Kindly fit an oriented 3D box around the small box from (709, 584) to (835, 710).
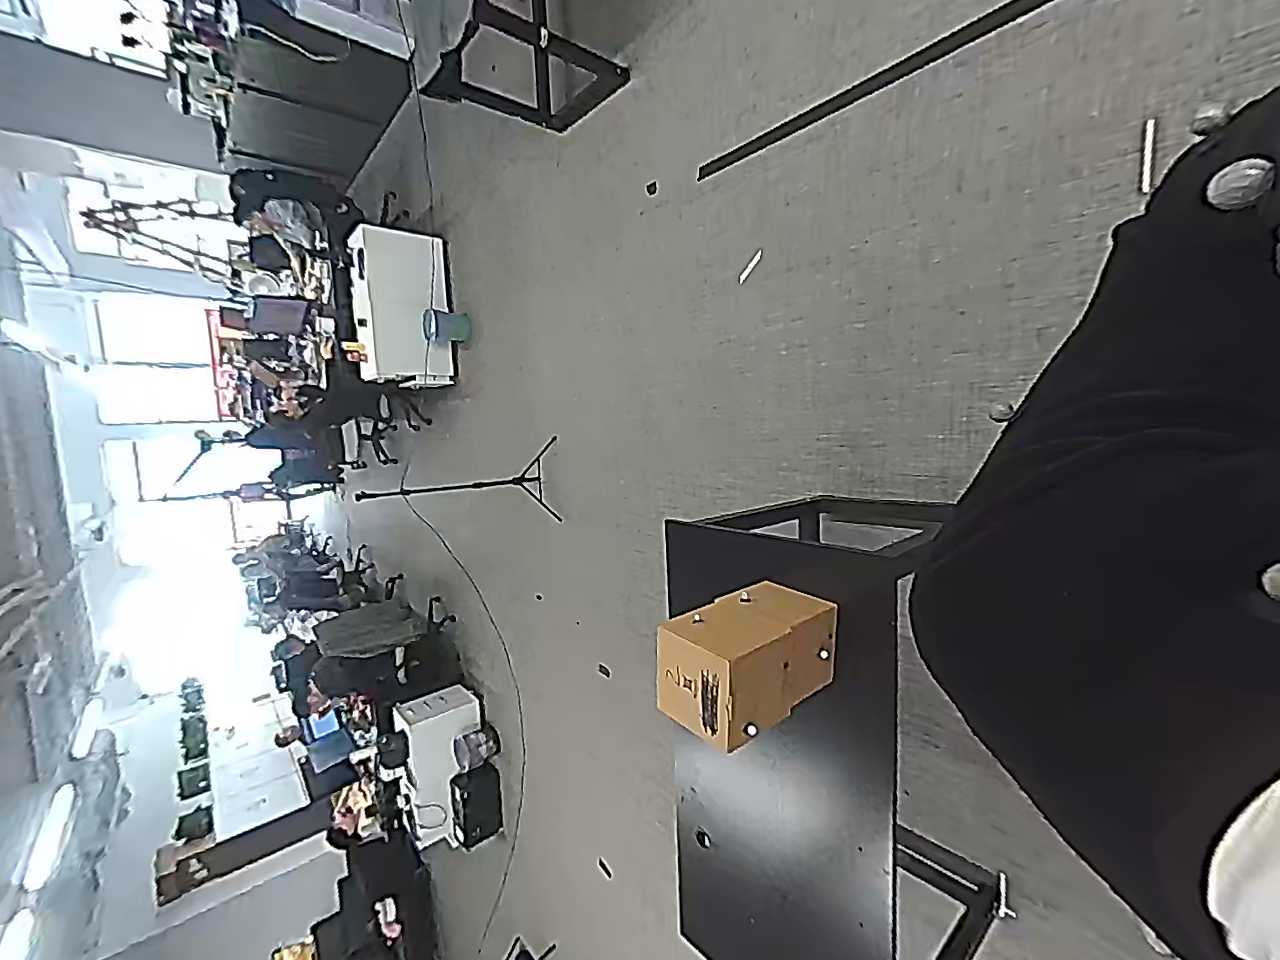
[{"bbox_3d":[0.260,0.319,1.078,0.179,0.176,0.168,12,107,49],"label":"small box"}]
